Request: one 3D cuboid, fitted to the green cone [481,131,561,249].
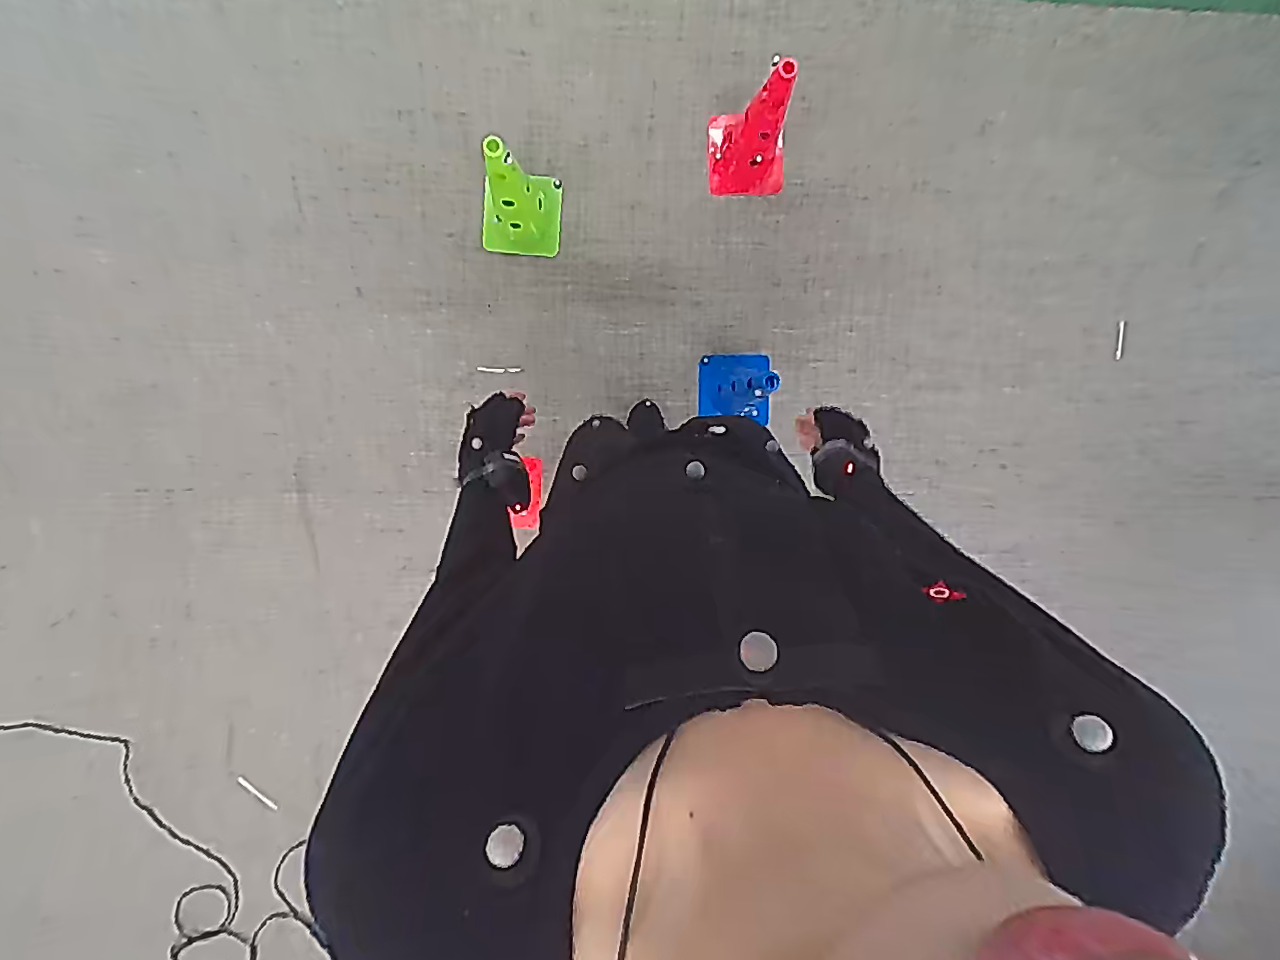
[{"bbox_3d":[-0.302,-0.689,1.232,0.200,0.368,0.202,3,97,-3],"label":"green cone"}]

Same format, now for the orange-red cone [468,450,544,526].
[{"bbox_3d":[-0.355,0.036,1.310,0.198,0.360,0.199,5,94,-4],"label":"orange-red cone"}]
